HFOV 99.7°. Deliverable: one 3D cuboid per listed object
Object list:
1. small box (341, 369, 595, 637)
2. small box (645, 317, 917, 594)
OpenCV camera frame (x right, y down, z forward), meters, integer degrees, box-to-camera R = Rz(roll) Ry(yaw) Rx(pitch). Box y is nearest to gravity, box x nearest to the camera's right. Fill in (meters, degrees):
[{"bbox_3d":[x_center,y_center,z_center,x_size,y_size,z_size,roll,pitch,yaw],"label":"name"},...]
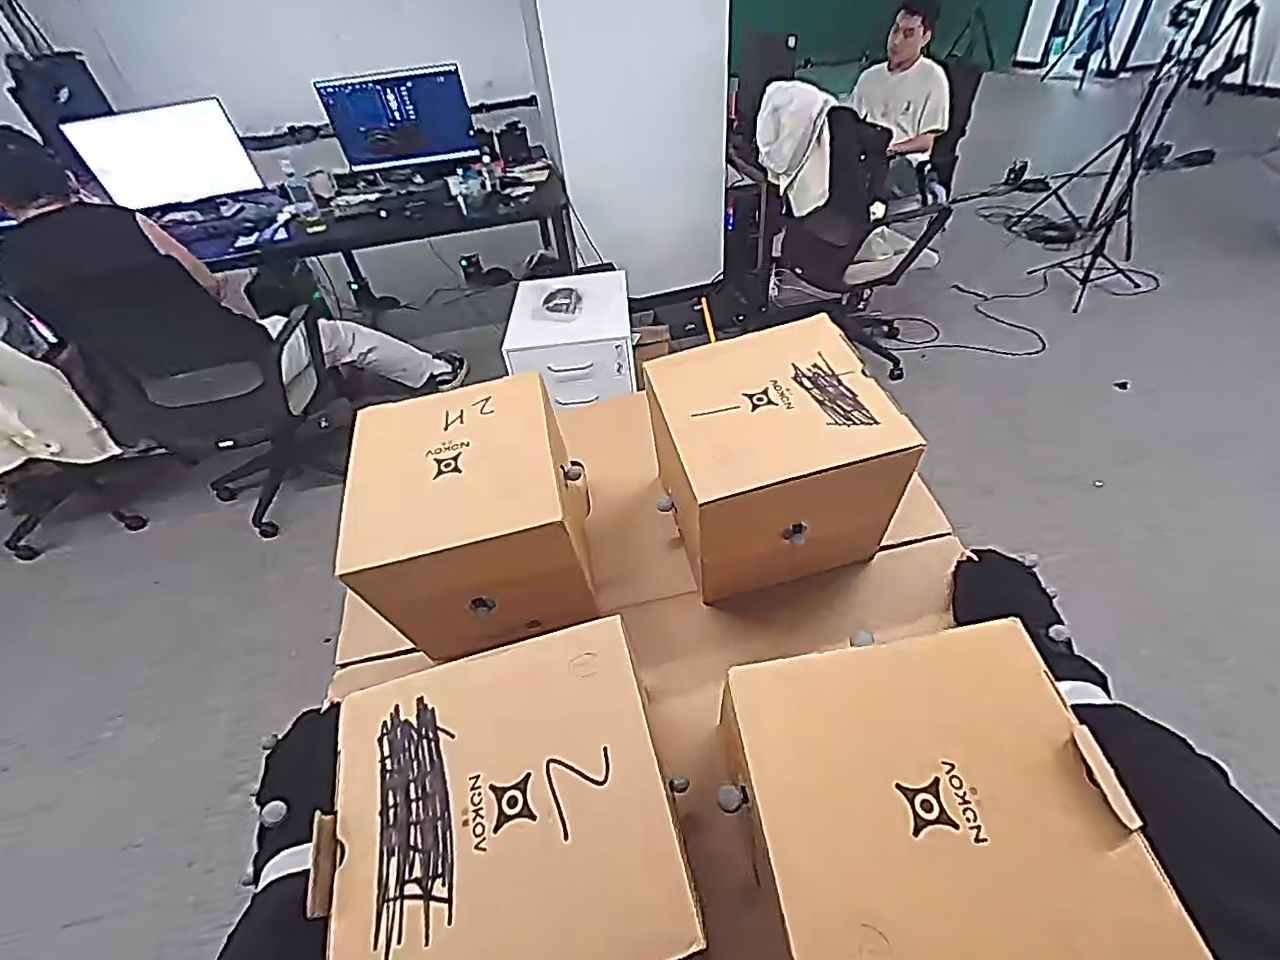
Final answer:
[{"bbox_3d":[-0.144,0.030,0.504,0.168,0.176,0.179,-13,52,-2],"label":"small box"},{"bbox_3d":[0.113,-0.017,0.502,0.179,0.176,0.168,-15,52,-2],"label":"small box"}]
